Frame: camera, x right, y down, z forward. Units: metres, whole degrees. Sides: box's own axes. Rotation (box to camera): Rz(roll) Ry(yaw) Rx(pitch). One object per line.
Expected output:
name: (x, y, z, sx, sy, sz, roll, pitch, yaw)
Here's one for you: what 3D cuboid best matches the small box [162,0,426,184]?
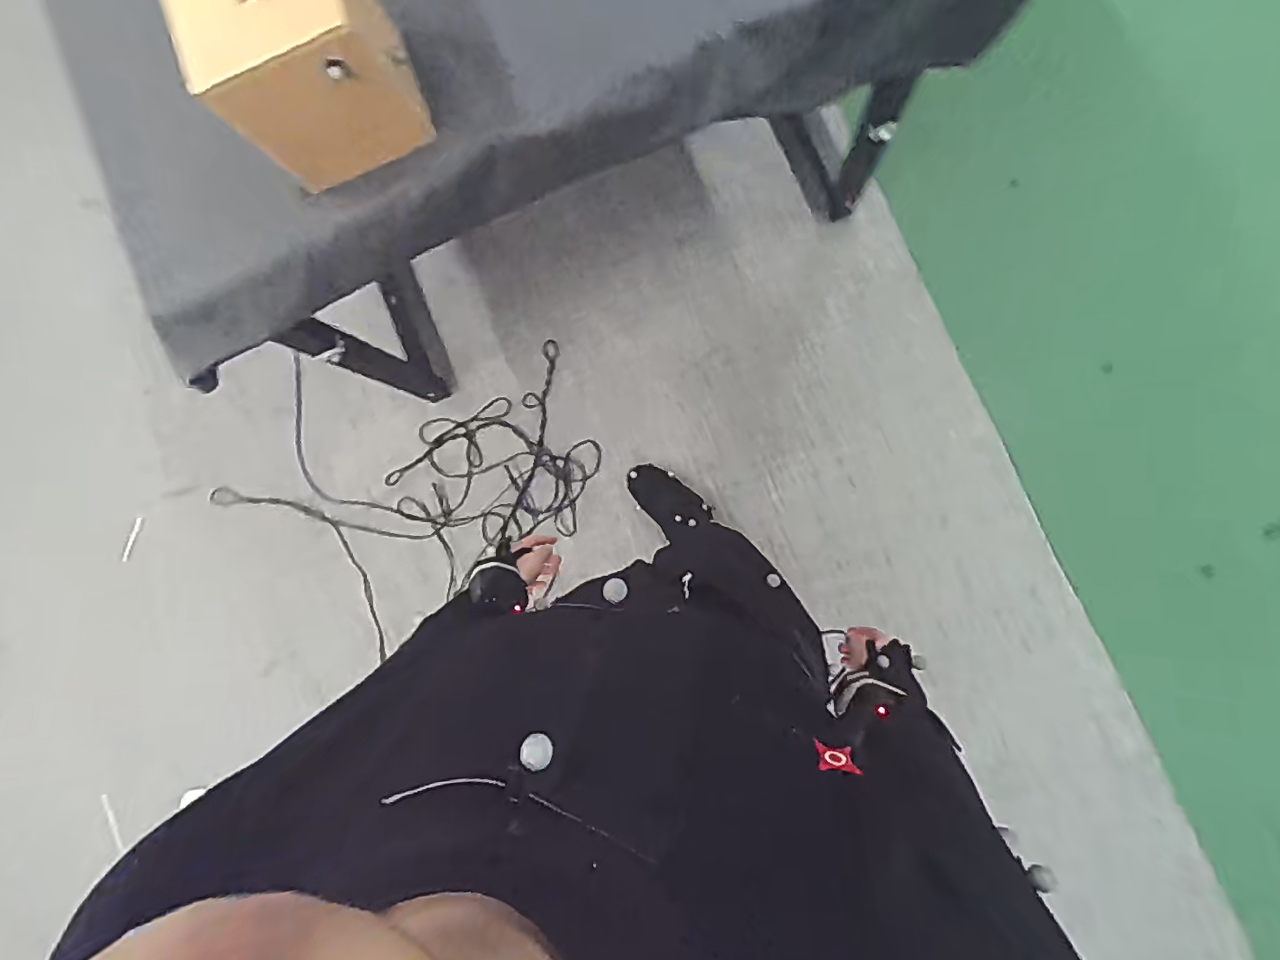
small box: (-0.381, -0.480, 0.614, 0.179, 0.176, 0.168, -22, 83, 5)
